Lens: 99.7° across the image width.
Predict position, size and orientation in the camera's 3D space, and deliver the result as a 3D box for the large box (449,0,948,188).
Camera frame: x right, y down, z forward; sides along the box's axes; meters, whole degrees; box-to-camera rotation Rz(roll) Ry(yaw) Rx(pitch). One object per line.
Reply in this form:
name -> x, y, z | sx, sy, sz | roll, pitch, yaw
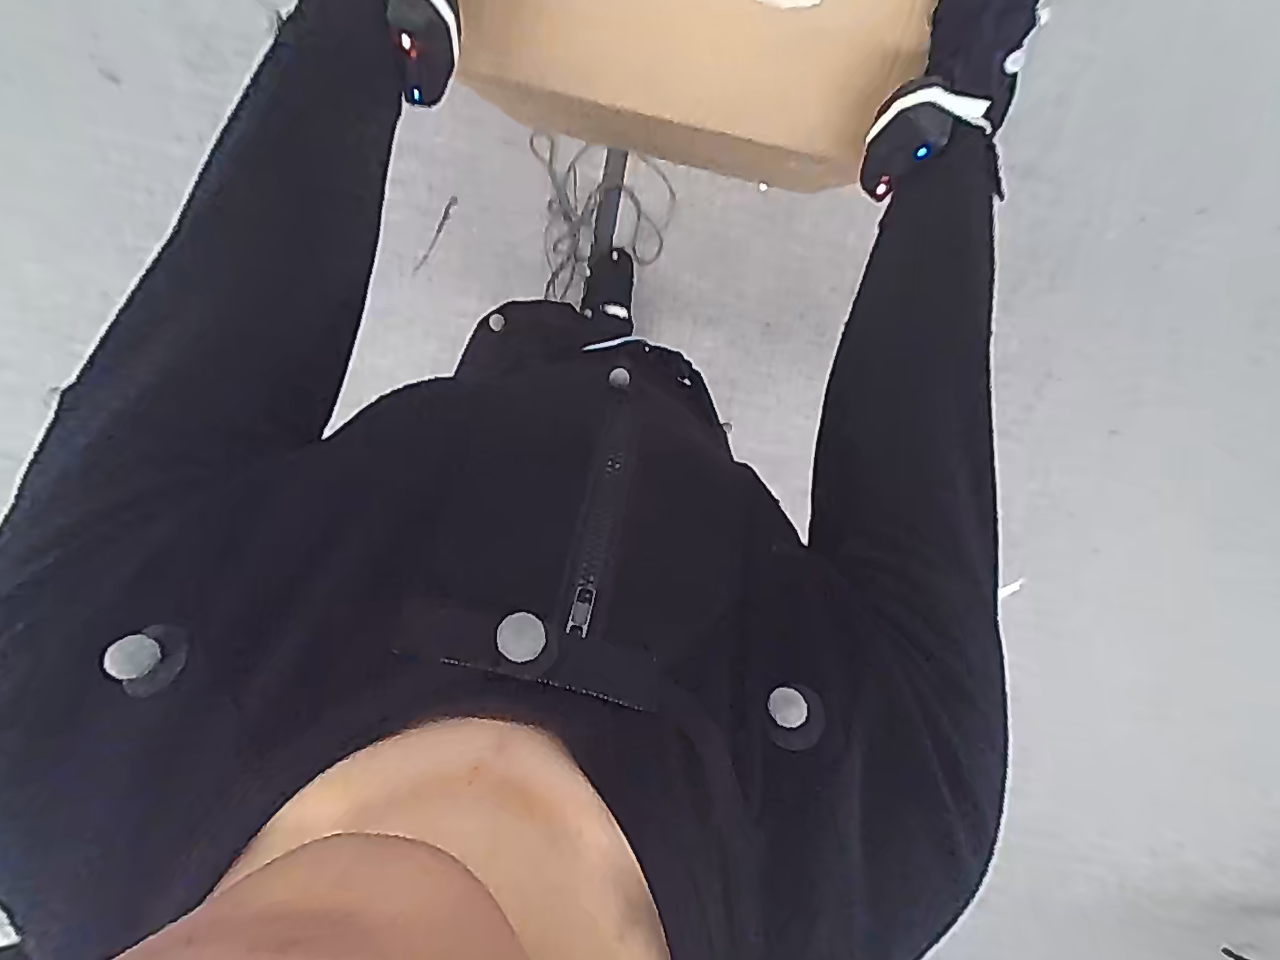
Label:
large box -> 0.059, -0.511, 0.541 | 0.408, 0.320, 0.320 | 11, 116, -4
